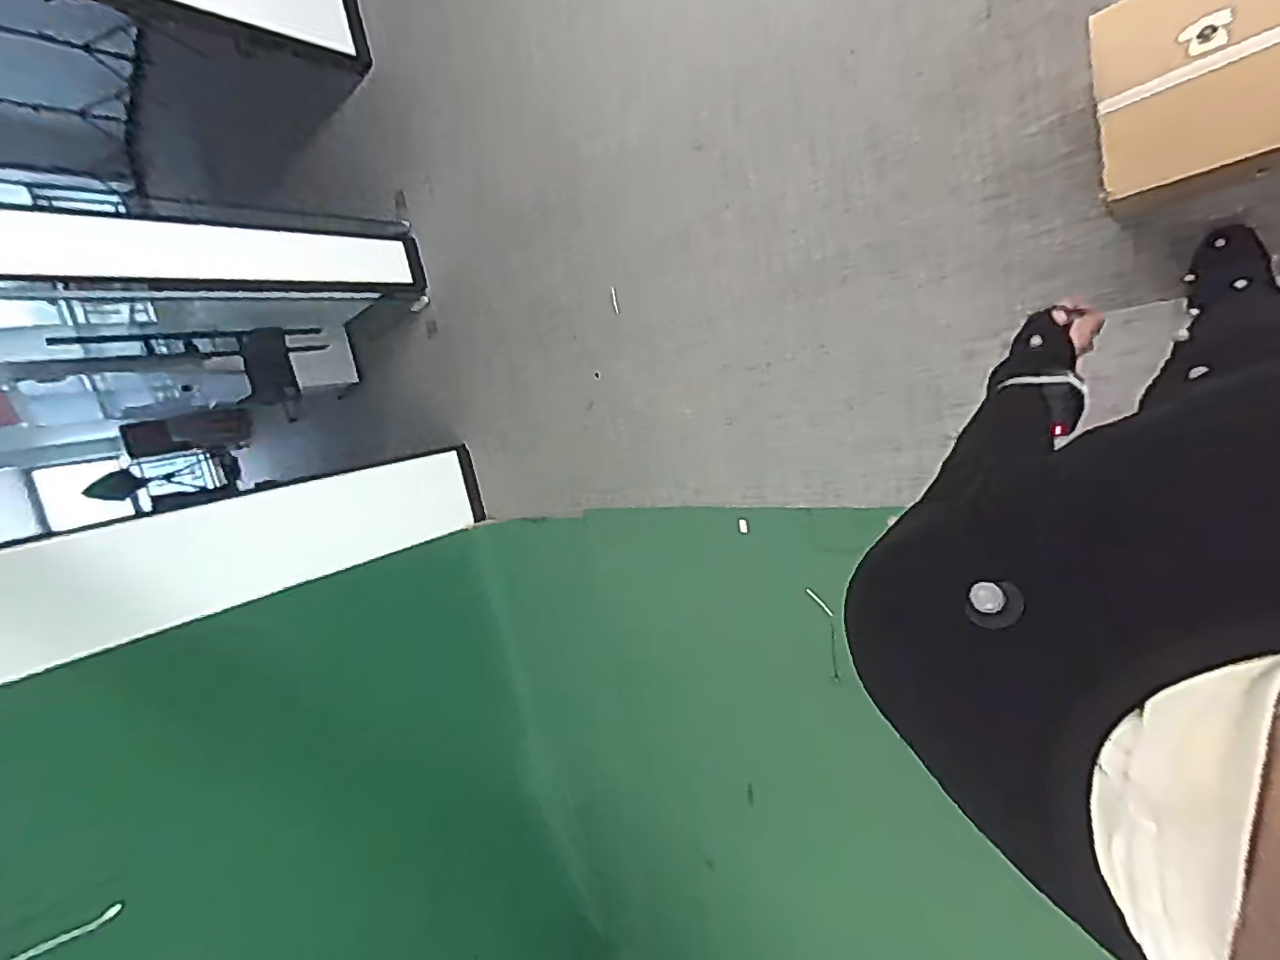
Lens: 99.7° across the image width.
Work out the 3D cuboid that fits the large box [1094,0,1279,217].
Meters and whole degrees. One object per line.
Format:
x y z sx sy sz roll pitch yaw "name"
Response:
1.064 -0.696 0.919 0.408 0.320 0.320 -6 98 45 "large box"
